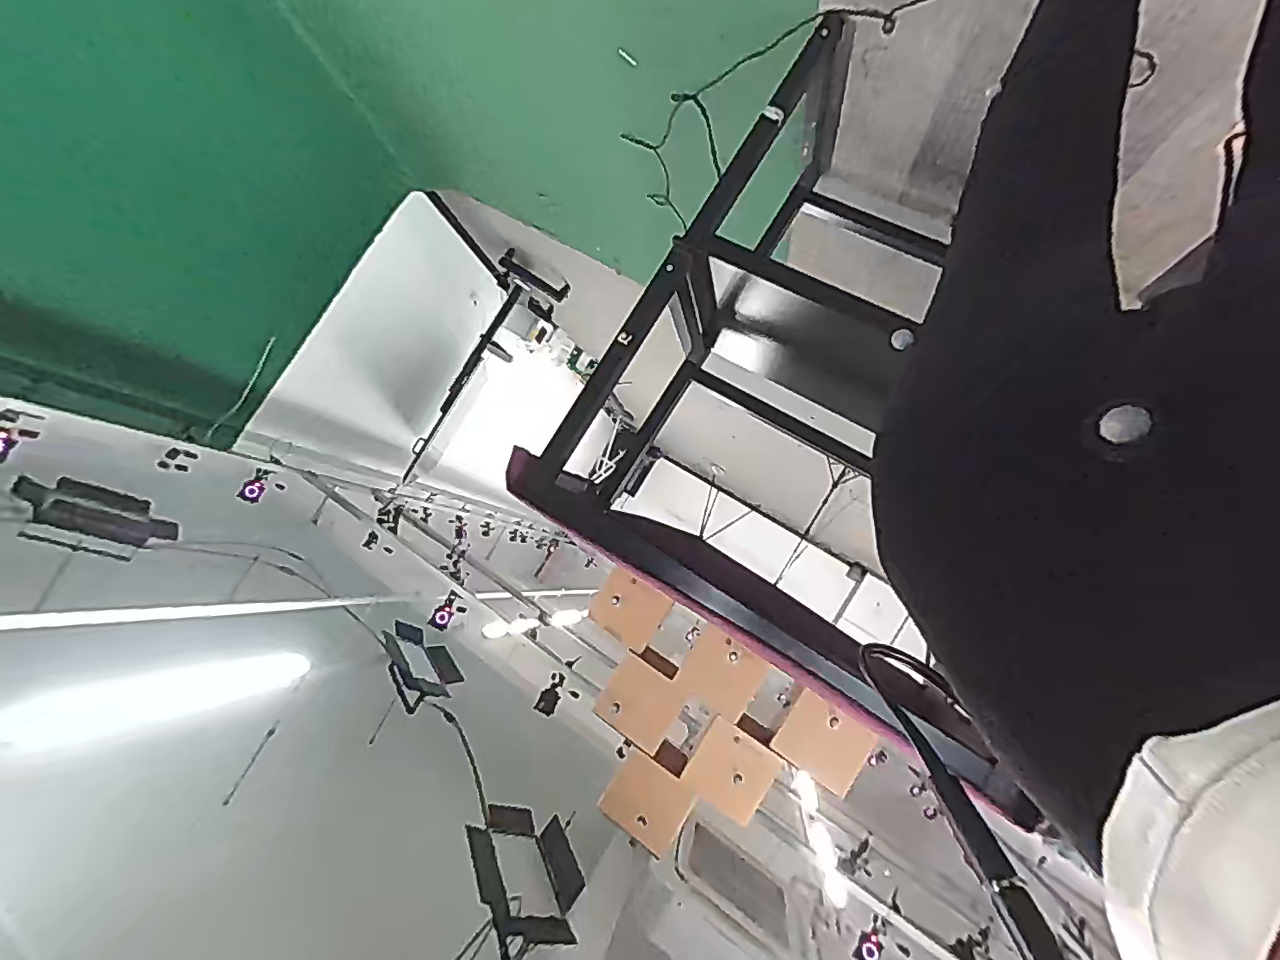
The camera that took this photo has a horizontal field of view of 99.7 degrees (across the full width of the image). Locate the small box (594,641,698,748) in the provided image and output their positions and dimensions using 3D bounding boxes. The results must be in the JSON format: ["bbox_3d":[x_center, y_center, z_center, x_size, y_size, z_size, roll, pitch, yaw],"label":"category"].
[{"bbox_3d":[0.021,0.503,1.313,0.179,0.176,0.168,31,178,15],"label":"small box"}]

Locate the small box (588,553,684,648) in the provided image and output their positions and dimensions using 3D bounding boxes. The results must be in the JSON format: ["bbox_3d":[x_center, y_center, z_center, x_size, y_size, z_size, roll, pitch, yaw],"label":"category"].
[{"bbox_3d":[-0.004,0.294,1.362,0.168,0.176,0.179,32,179,12],"label":"small box"}]

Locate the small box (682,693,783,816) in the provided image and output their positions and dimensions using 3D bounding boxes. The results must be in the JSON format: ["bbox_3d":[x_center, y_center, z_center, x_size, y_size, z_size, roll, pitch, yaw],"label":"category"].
[{"bbox_3d":[0.216,0.620,1.249,0.168,0.176,0.179,31,178,14],"label":"small box"}]

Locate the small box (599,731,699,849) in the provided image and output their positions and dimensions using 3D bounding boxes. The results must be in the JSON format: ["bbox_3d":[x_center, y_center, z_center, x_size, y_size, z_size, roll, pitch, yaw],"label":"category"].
[{"bbox_3d":[0.037,0.704,1.273,0.179,0.176,0.168,31,178,16],"label":"small box"}]

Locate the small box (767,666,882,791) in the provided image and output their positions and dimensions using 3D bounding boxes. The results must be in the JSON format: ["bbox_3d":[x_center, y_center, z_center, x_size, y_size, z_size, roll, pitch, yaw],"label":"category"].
[{"bbox_3d":[0.409,0.548,1.223,0.179,0.176,0.168,33,178,16],"label":"small box"}]
